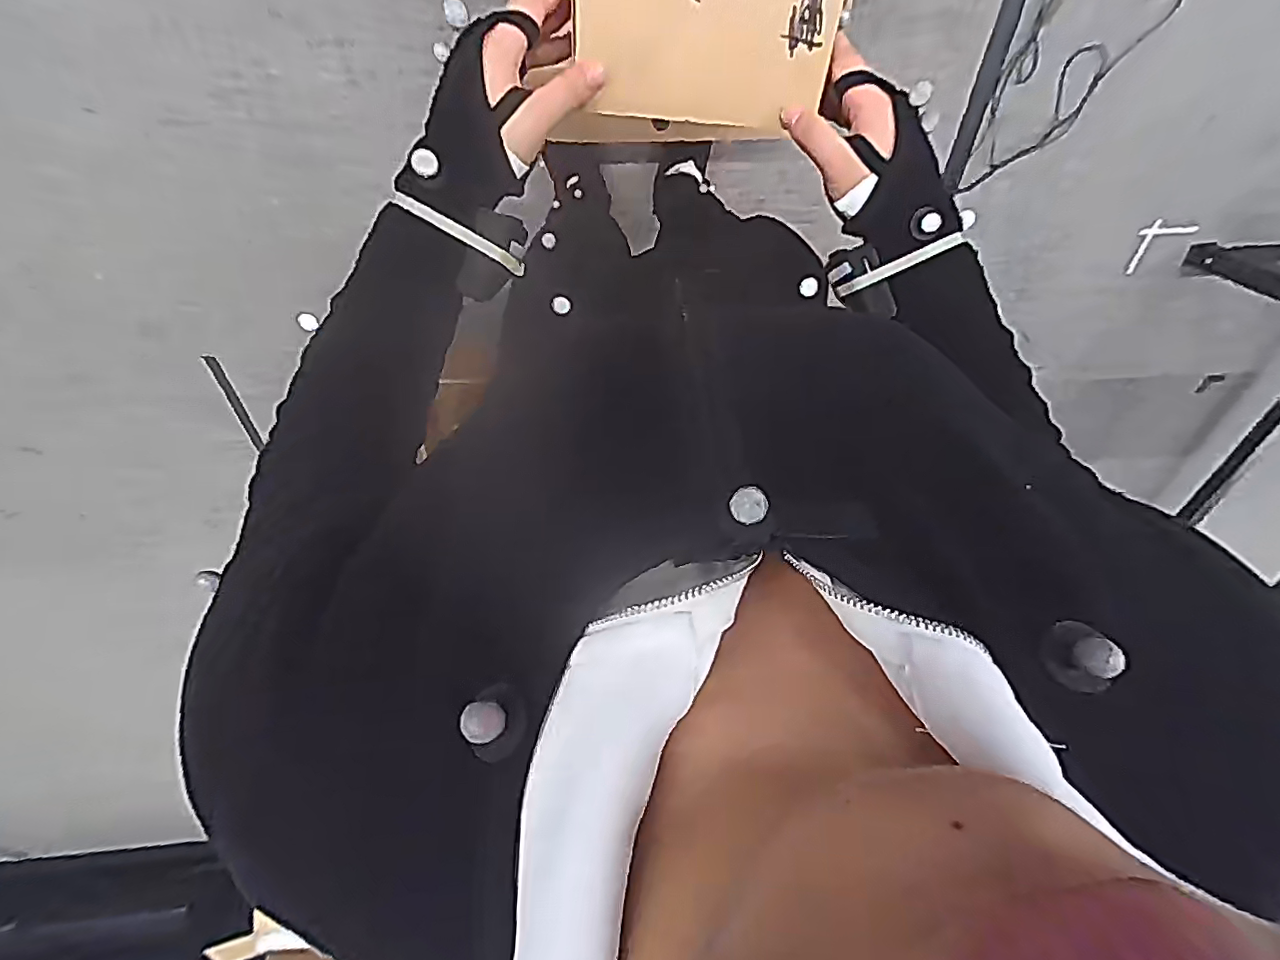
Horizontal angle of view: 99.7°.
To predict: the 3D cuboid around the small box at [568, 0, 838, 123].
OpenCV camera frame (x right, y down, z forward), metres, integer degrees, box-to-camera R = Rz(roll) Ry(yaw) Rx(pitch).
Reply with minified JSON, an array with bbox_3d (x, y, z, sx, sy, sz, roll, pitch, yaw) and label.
[{"bbox_3d":[0.039,-0.375,0.399,0.179,0.176,0.168,1,128,-6],"label":"small box"}]
